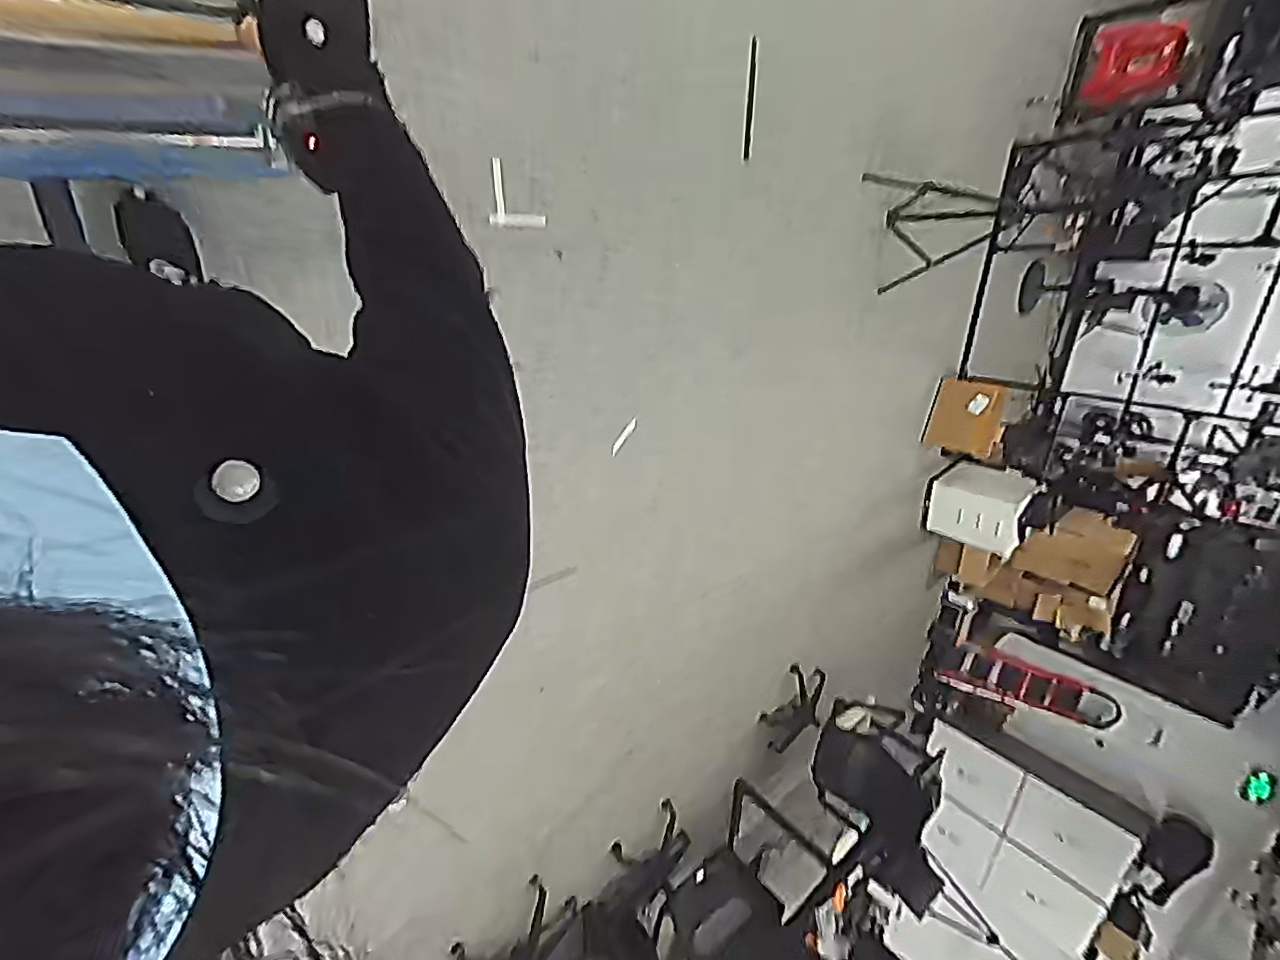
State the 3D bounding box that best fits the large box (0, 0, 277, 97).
[{"bbox_3d":[-0.765,-0.699,0.678,0.408,0.320,0.320,-26,124,-34],"label":"large box"}]
